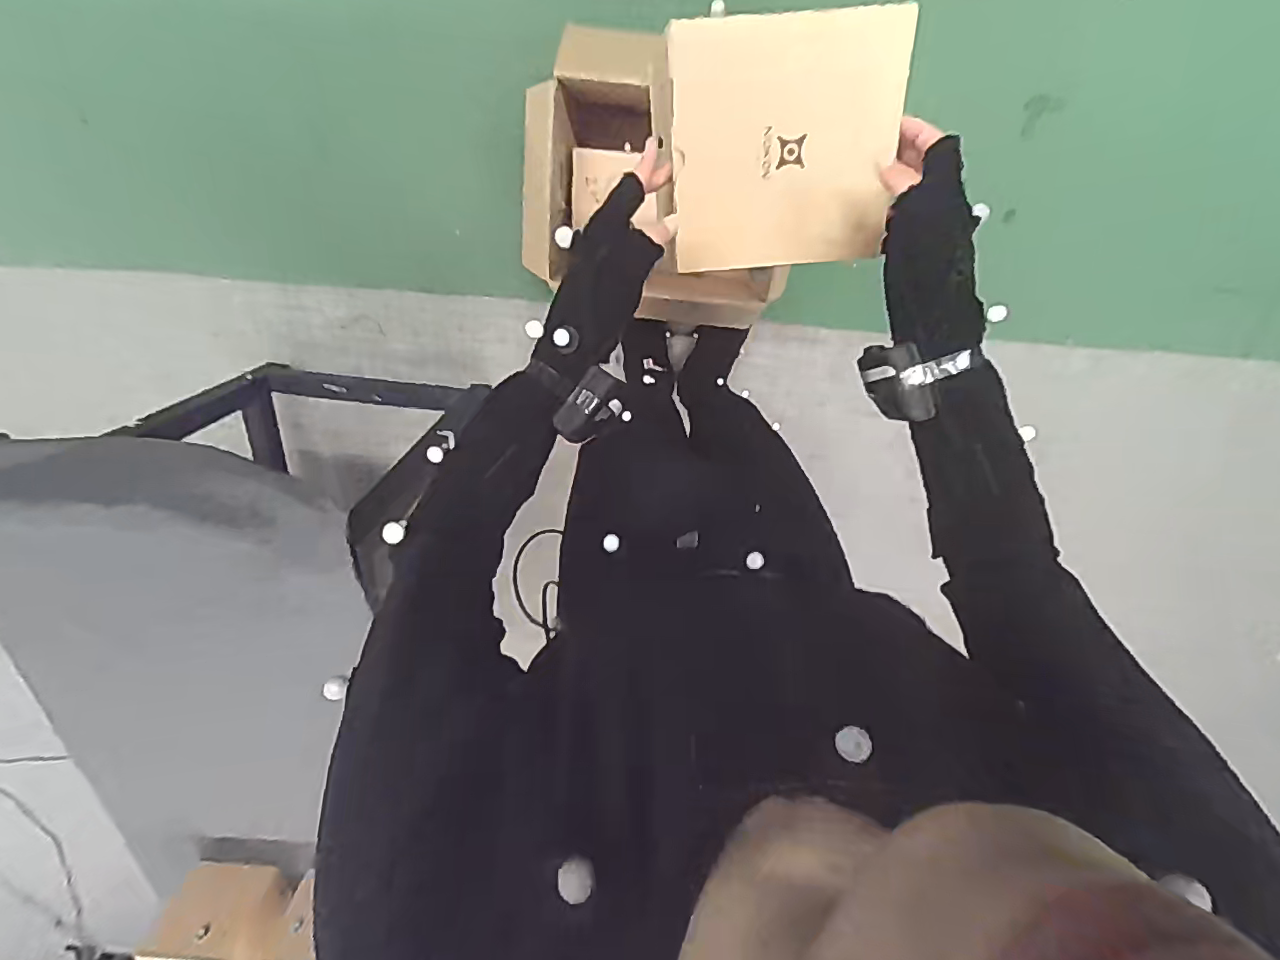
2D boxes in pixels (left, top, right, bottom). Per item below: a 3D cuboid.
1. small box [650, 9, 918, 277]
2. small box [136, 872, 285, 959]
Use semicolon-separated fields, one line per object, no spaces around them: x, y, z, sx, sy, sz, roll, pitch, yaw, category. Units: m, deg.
0.104;-0.284;0.473;0.179;0.176;0.168;-5;120;0;small box
-0.858;0.932;1.097;0.179;0.176;0.168;5;117;0;small box
